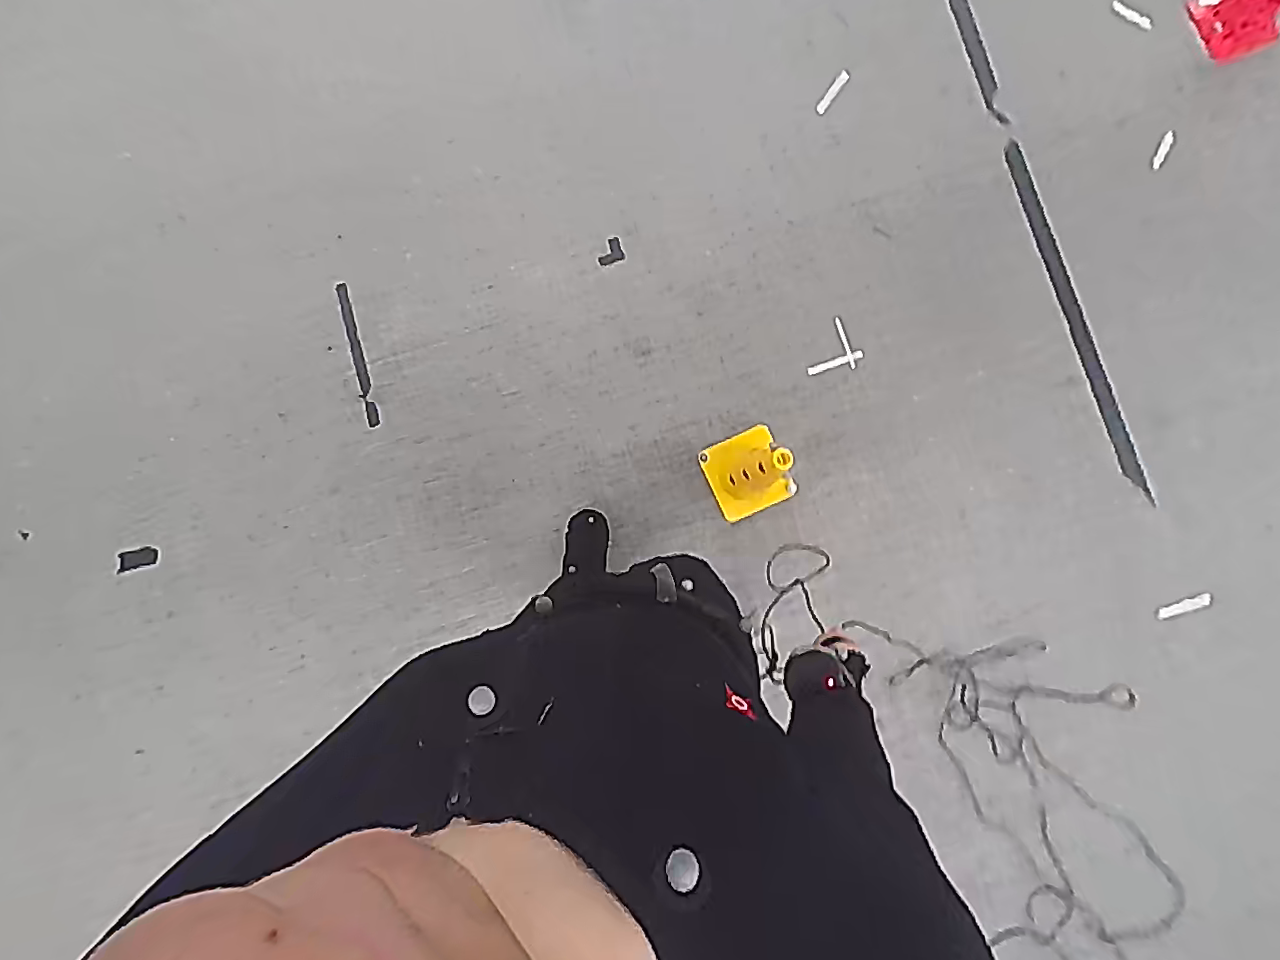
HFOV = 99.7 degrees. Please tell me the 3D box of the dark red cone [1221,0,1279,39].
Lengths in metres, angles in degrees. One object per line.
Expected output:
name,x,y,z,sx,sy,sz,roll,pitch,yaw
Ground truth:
dark red cone,1.623,-1.281,1.254,0.201,0.394,0.202,-25,86,0
